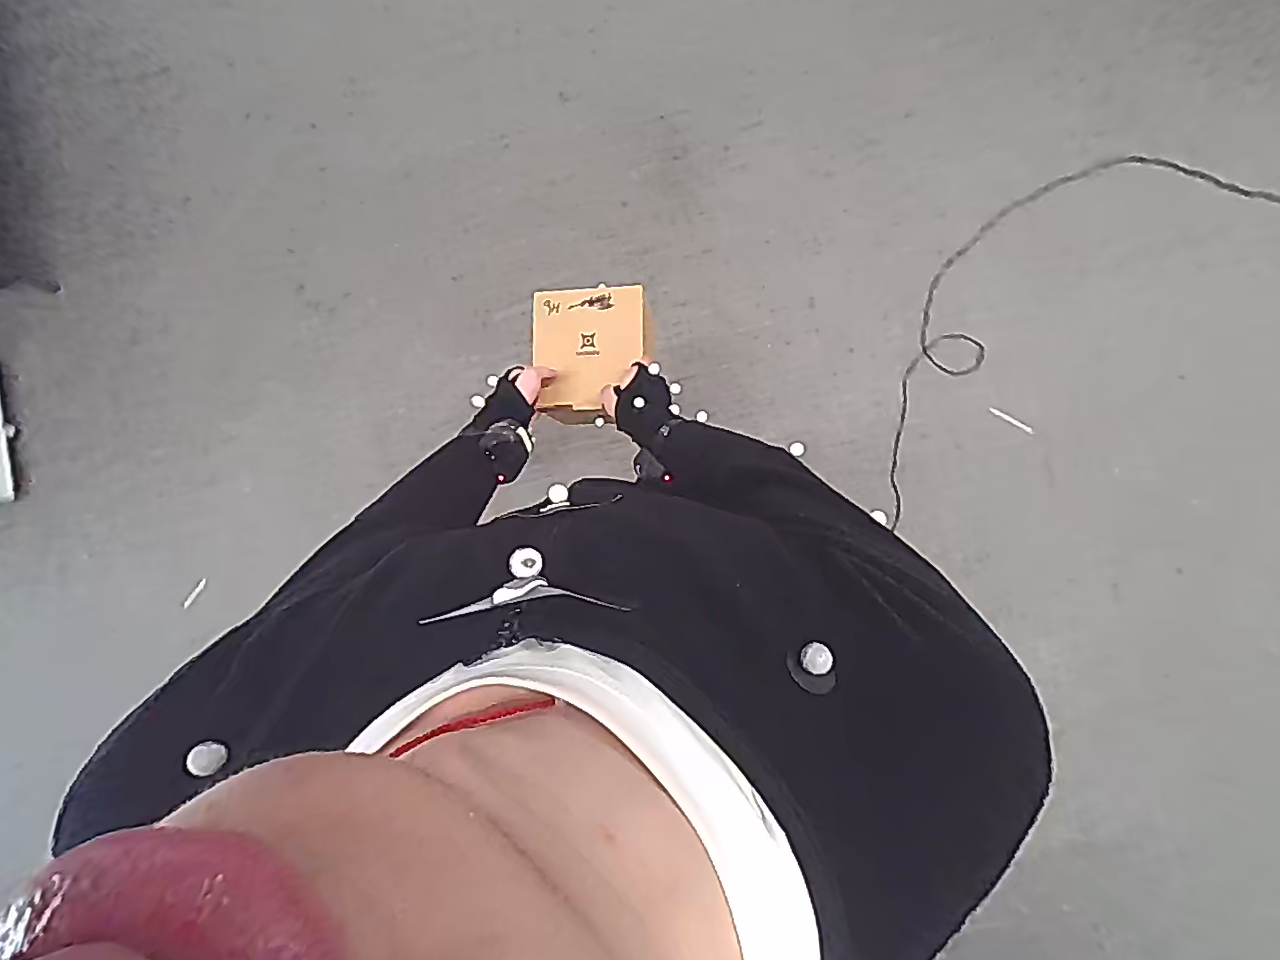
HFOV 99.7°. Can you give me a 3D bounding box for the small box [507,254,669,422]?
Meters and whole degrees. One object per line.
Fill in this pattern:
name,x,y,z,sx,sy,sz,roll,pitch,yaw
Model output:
small box,-0.073,-0.211,0.861,0.179,0.176,0.168,-32,82,7
